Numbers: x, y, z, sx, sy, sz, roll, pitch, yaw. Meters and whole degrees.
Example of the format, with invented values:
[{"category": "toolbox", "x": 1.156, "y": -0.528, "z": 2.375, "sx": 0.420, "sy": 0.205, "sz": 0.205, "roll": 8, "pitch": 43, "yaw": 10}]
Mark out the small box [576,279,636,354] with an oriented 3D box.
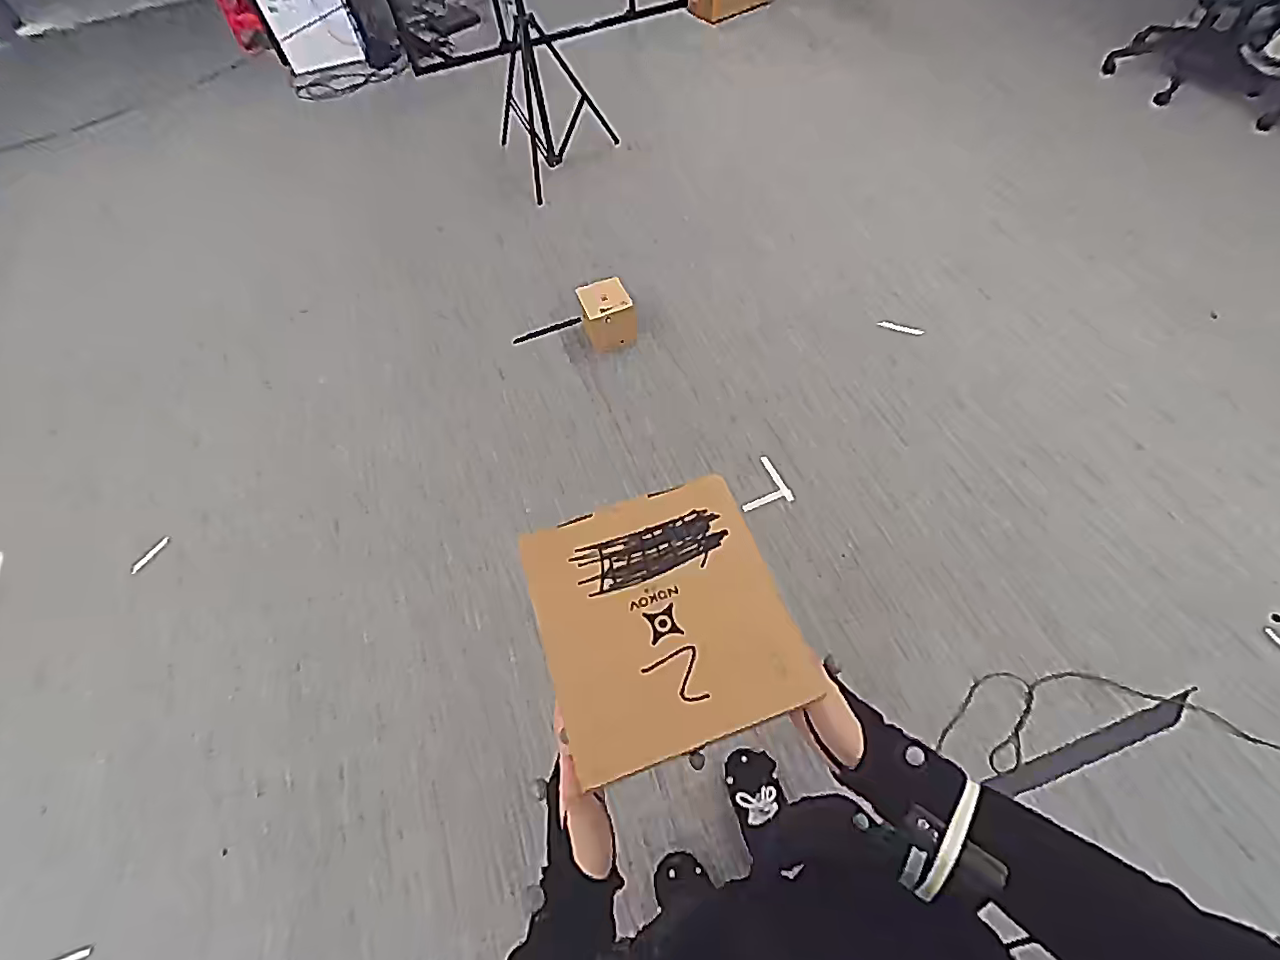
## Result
[{"category": "small box", "x": -0.121, "y": -0.595, "z": 1.978, "sx": 0.168, "sy": 0.176, "sz": 0.179, "roll": -21, "pitch": 58, "yaw": -7}]
